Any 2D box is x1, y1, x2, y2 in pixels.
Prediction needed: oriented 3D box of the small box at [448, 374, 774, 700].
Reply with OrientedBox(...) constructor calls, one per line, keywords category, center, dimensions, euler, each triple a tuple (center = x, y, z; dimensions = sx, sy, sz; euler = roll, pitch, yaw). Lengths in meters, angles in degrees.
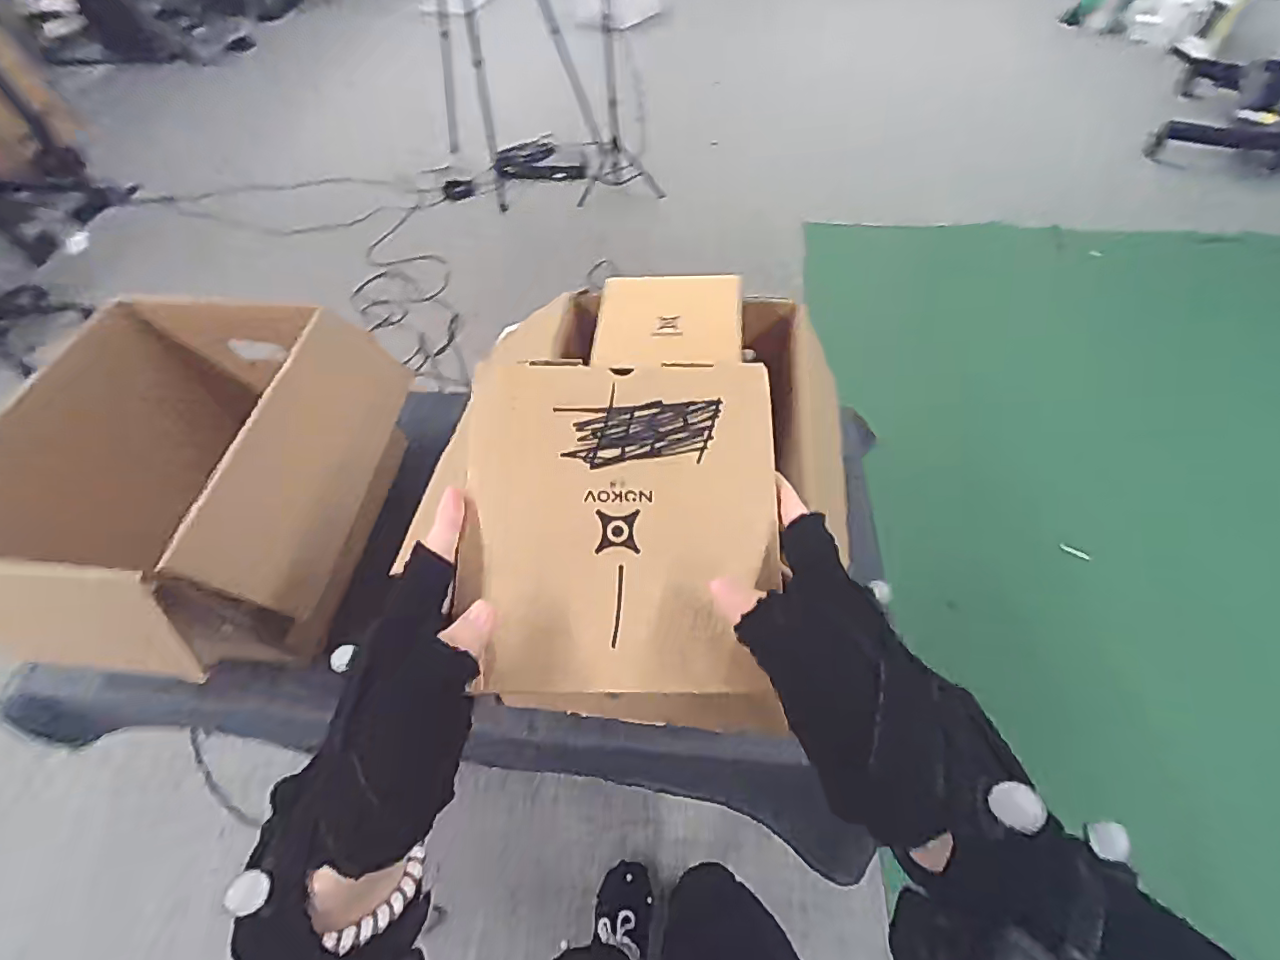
OrientedBox(category="small box", center=(-0.015, 0.046, 0.367), dimensions=(0.168, 0.176, 0.179), euler=(1, 75, -1))
